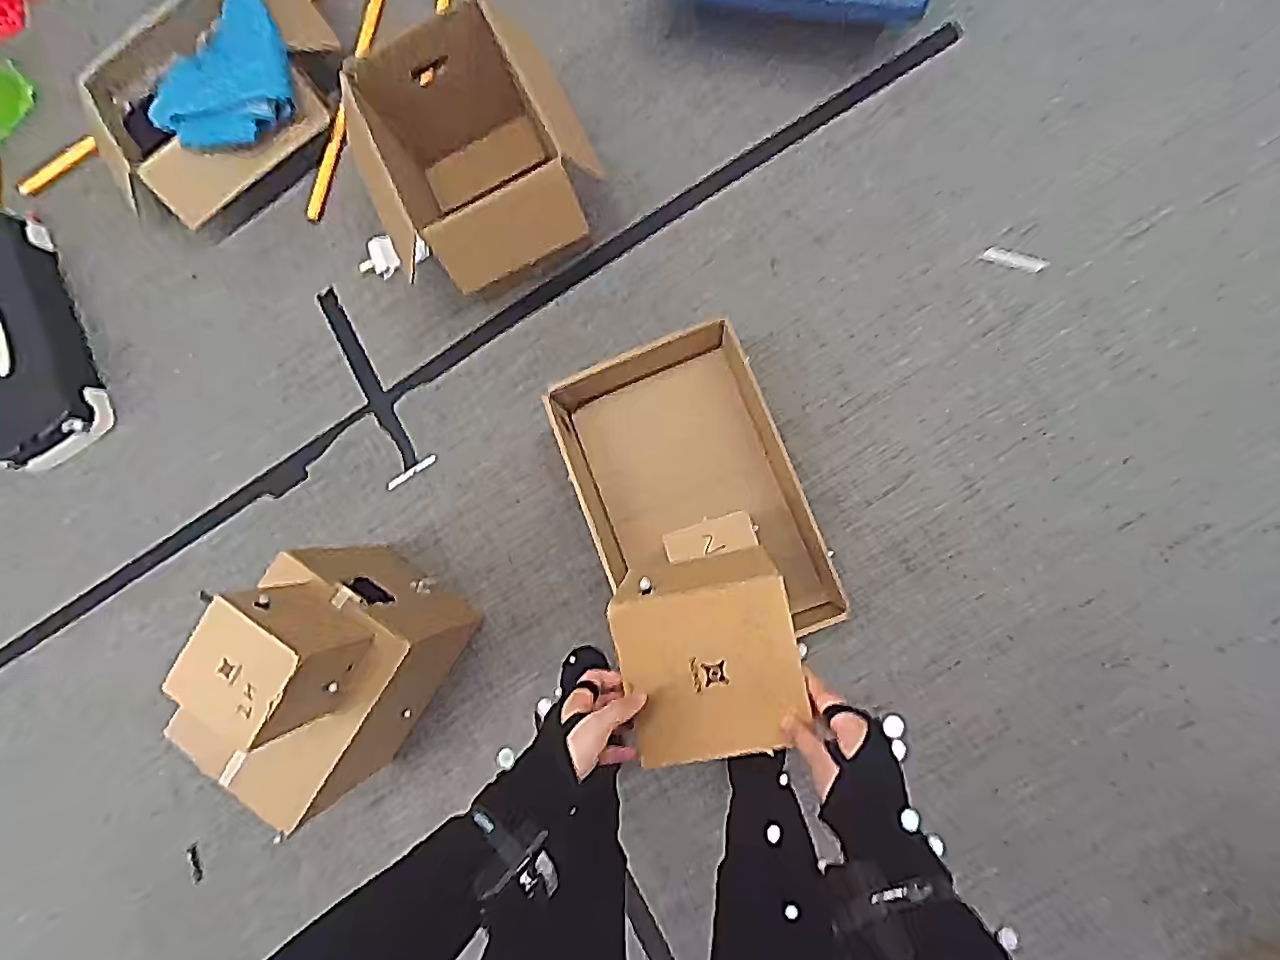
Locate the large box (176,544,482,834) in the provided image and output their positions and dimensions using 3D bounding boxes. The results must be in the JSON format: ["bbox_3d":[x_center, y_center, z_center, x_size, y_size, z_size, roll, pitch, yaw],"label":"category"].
[{"bbox_3d":[-0.600,0.382,1.109,0.320,0.320,0.408,32,90,10],"label":"large box"}]

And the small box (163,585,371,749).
[{"bbox_3d":[-0.583,0.283,0.866,0.179,0.176,0.168,31,91,9],"label":"small box"}]
